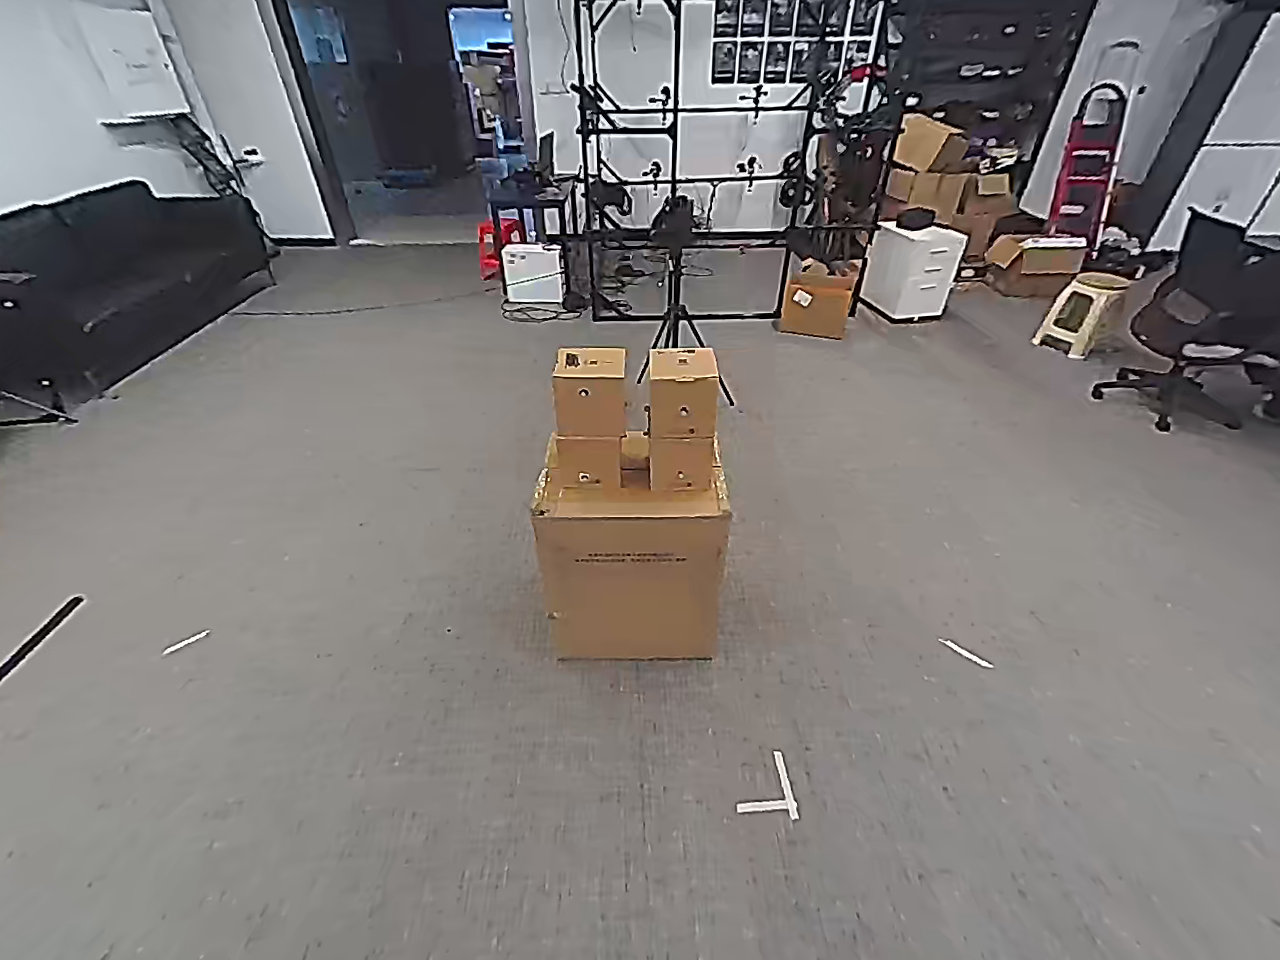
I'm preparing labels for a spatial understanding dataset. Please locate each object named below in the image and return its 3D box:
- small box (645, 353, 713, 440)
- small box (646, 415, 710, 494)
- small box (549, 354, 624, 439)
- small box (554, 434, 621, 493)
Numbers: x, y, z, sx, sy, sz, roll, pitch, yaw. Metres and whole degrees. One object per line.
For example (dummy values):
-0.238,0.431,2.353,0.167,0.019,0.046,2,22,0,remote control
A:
0.099,-0.212,1.395,0.168,0.176,0.179,-1,37,1,small box
0.099,-0.079,1.490,0.168,0.176,0.179,-2,37,1,small box
-0.132,-0.216,1.406,0.179,0.176,0.168,0,37,-1,small box
-0.140,-0.082,1.500,0.168,0.176,0.179,-1,38,-1,small box
